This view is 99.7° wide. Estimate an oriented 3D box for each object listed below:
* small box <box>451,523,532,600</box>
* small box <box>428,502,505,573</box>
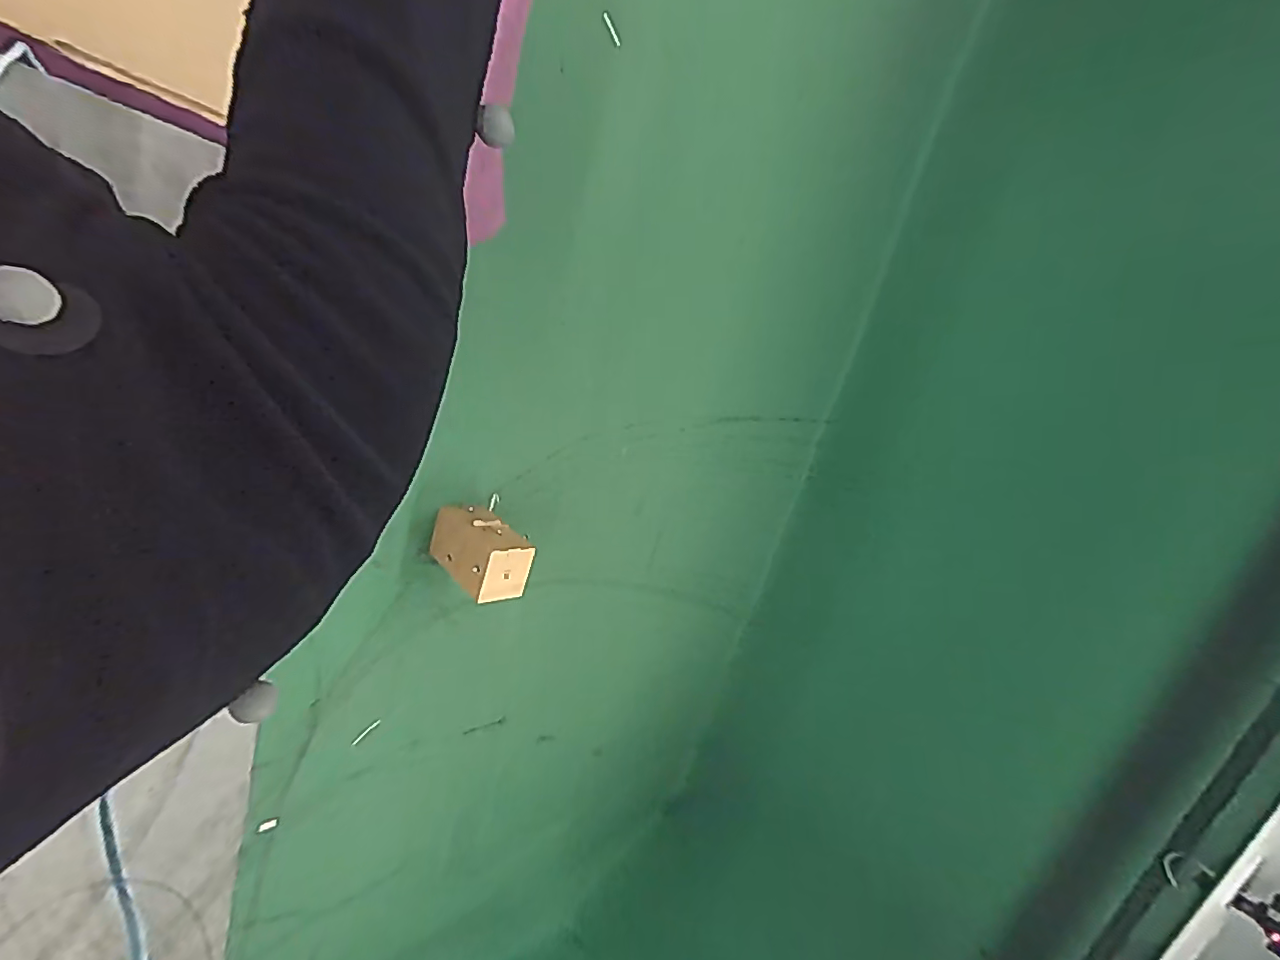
[{"bbox_3d":[-0.472,0.250,1.701,0.168,0.176,0.179,3,110,-50],"label":"small box"},{"bbox_3d":[-0.583,0.187,1.803,0.168,0.176,0.179,1,112,-50],"label":"small box"}]
